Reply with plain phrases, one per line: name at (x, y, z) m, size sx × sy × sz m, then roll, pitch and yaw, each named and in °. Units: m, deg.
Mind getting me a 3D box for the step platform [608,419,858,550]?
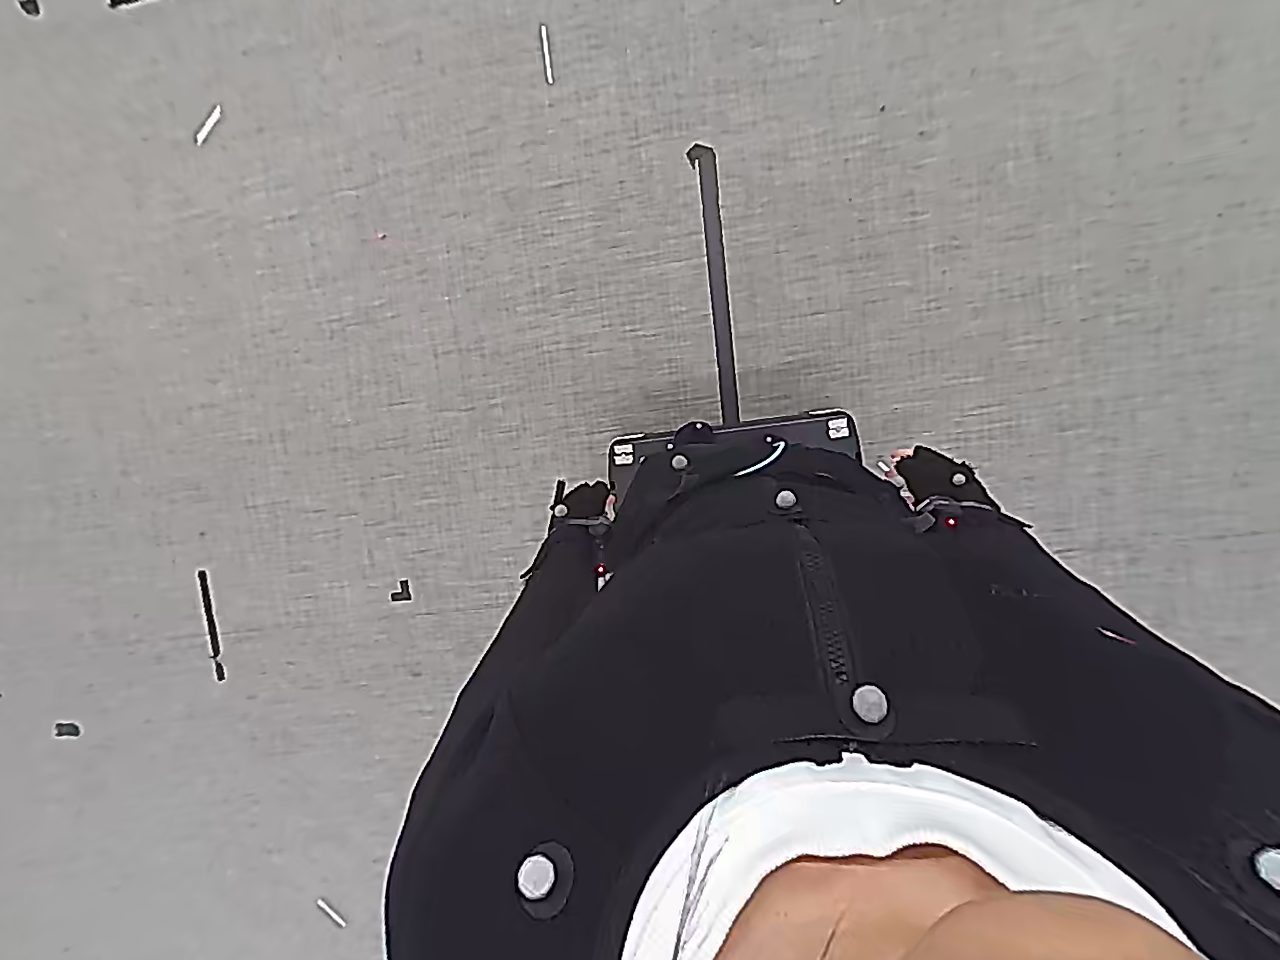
step platform at (0.250, 0.013, 1.531) m, size 0.684 × 0.204 × 0.286 m, roll -8°, pitch 96°, yaw 7°
